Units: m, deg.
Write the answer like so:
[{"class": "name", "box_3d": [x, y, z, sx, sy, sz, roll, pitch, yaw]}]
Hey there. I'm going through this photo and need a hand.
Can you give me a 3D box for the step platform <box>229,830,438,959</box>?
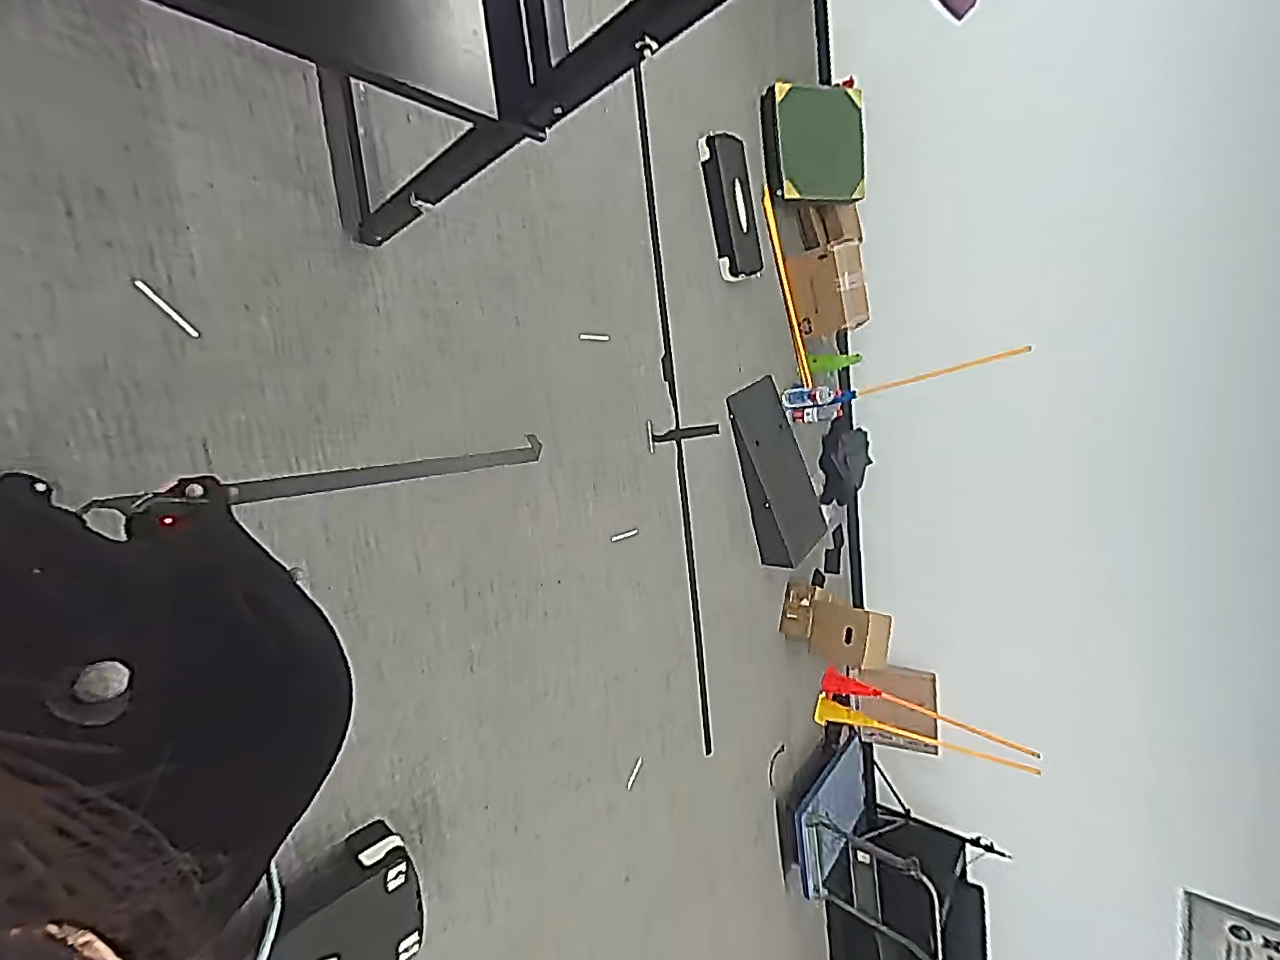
[{"class": "step platform", "box_3d": [-0.813, 1.124, 1.226, 0.684, 0.204, 0.286, -4, 93, -48]}]
